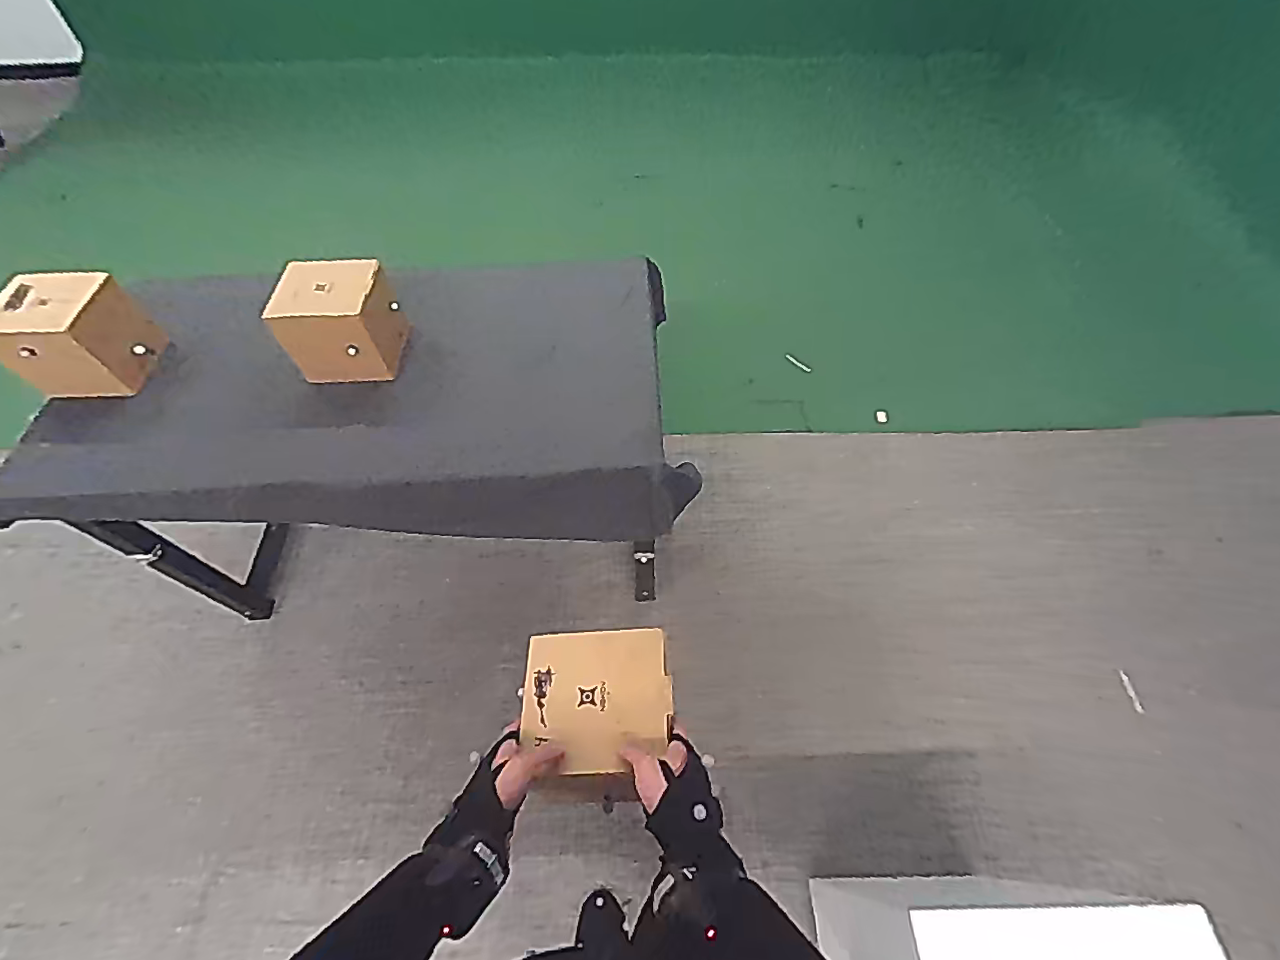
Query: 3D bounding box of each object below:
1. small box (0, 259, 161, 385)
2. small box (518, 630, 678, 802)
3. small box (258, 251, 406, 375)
[{"bbox_3d":[-1.083,-0.295,1.022,0.179,0.176,0.168,-1,58,-2],"label":"small box"},{"bbox_3d":[-0.044,0.305,0.694,0.179,0.176,0.168,-3,51,2],"label":"small box"},{"bbox_3d":[-0.579,-0.319,1.047,0.179,0.176,0.168,-3,56,-1],"label":"small box"}]
